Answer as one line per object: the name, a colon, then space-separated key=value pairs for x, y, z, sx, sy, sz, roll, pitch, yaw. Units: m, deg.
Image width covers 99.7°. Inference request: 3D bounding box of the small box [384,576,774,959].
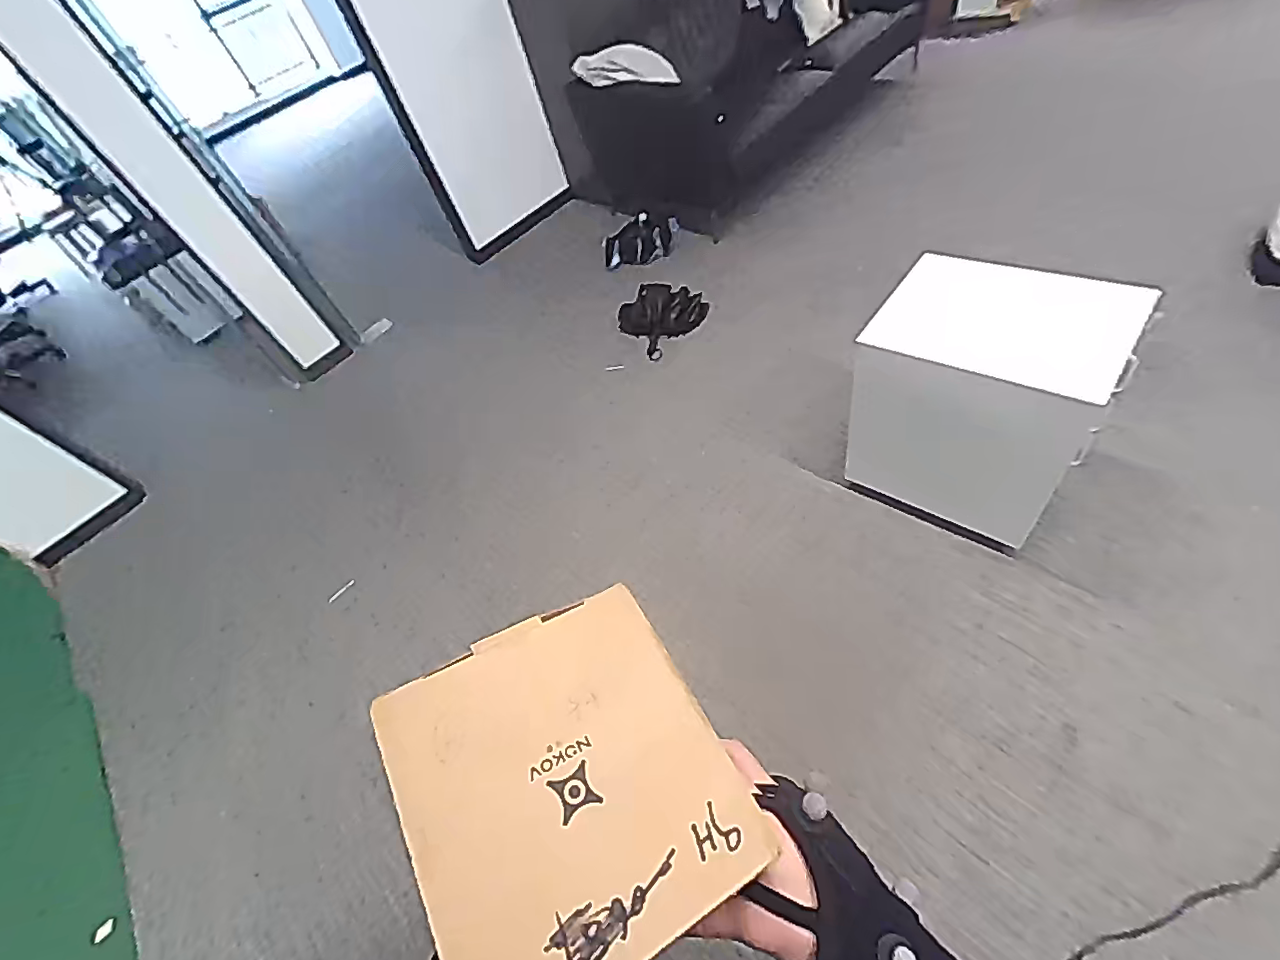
small box: x=-0.047 y=0.201 z=0.362 sx=0.168 sy=0.176 sz=0.179 roll=-21 pitch=58 yaw=-21
